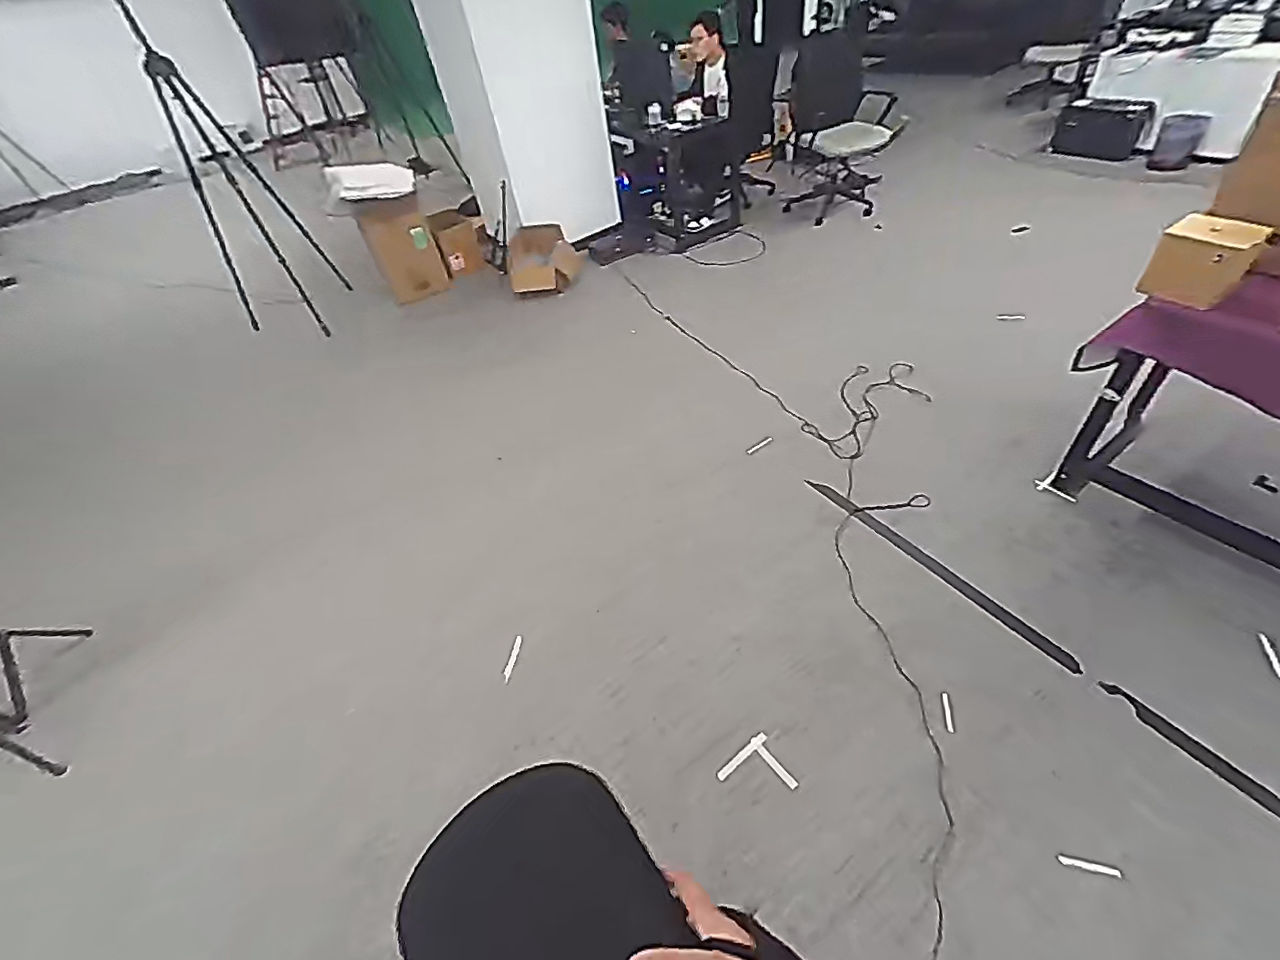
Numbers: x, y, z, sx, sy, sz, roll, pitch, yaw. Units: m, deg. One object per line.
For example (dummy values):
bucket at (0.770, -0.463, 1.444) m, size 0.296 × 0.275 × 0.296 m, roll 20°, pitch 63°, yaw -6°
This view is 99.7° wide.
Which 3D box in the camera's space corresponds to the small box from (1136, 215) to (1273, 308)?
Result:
small box at (1.501, -0.586, 1.451) m, size 0.168 × 0.176 × 0.179 m, roll -30°, pitch 49°, yaw -19°
